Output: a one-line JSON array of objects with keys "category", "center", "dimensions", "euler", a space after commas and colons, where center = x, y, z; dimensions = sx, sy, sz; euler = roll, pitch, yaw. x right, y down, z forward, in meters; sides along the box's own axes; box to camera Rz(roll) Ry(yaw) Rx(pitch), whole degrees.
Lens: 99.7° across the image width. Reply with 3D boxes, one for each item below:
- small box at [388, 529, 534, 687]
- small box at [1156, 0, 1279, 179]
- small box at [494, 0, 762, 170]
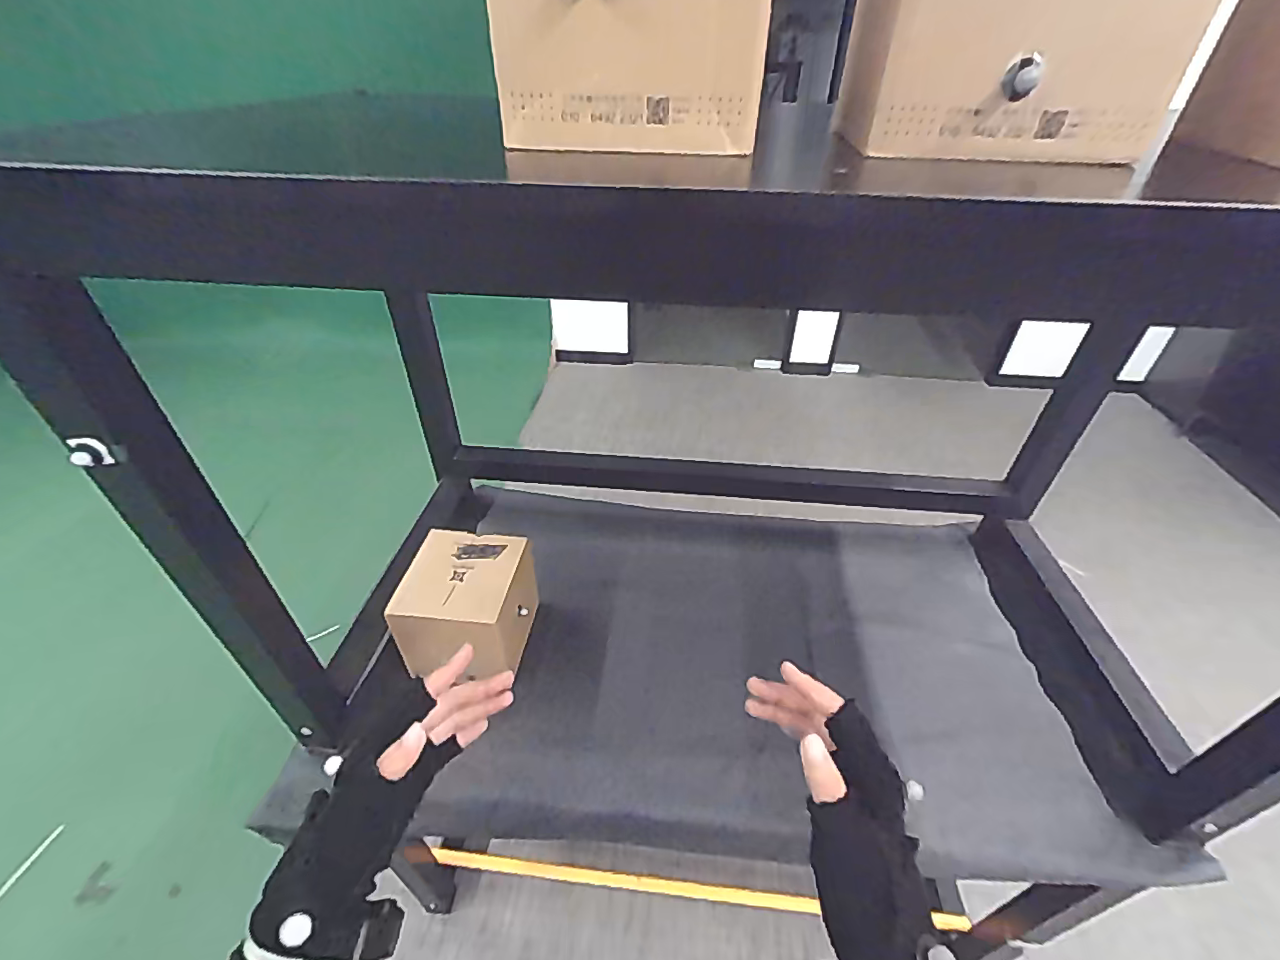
[{"category": "small box", "center": [-0.274, 0.205, 0.879], "dimensions": [0.168, 0.176, 0.179], "euler": [4, 38, 4]}, {"category": "small box", "center": [0.481, -0.277, 0.324], "dimensions": [0.168, 0.176, 0.179], "euler": [12, 39, 13]}, {"category": "small box", "center": [0.000, -0.330, 0.388], "dimensions": [0.168, 0.176, 0.179], "euler": [4, 38, 4]}]
